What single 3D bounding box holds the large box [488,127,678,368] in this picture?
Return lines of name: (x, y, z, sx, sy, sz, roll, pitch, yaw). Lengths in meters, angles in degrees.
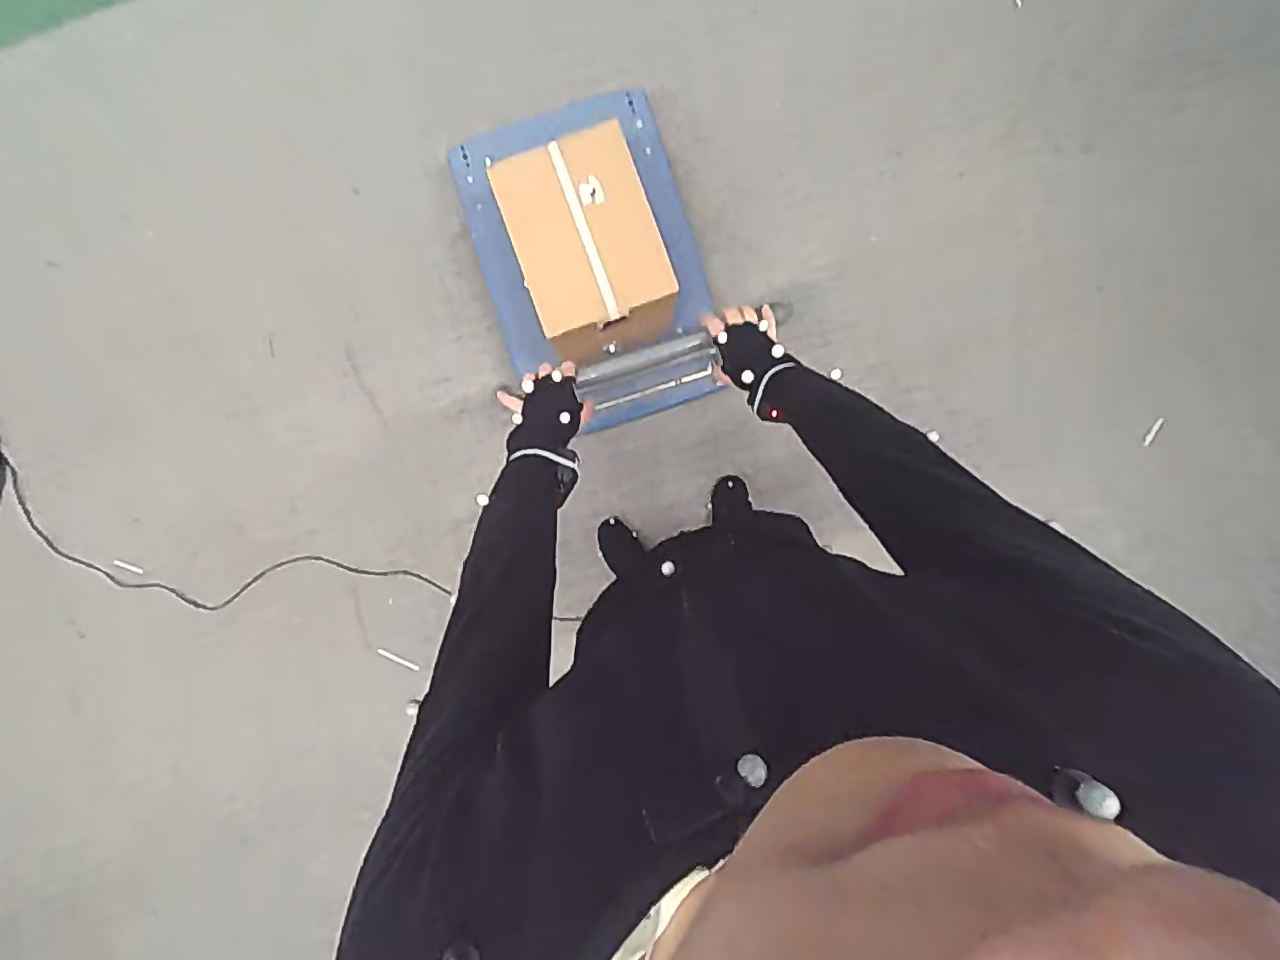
large box: (-0.122, -0.544, 1.342, 0.320, 0.320, 0.408, -20, 89, 0)
